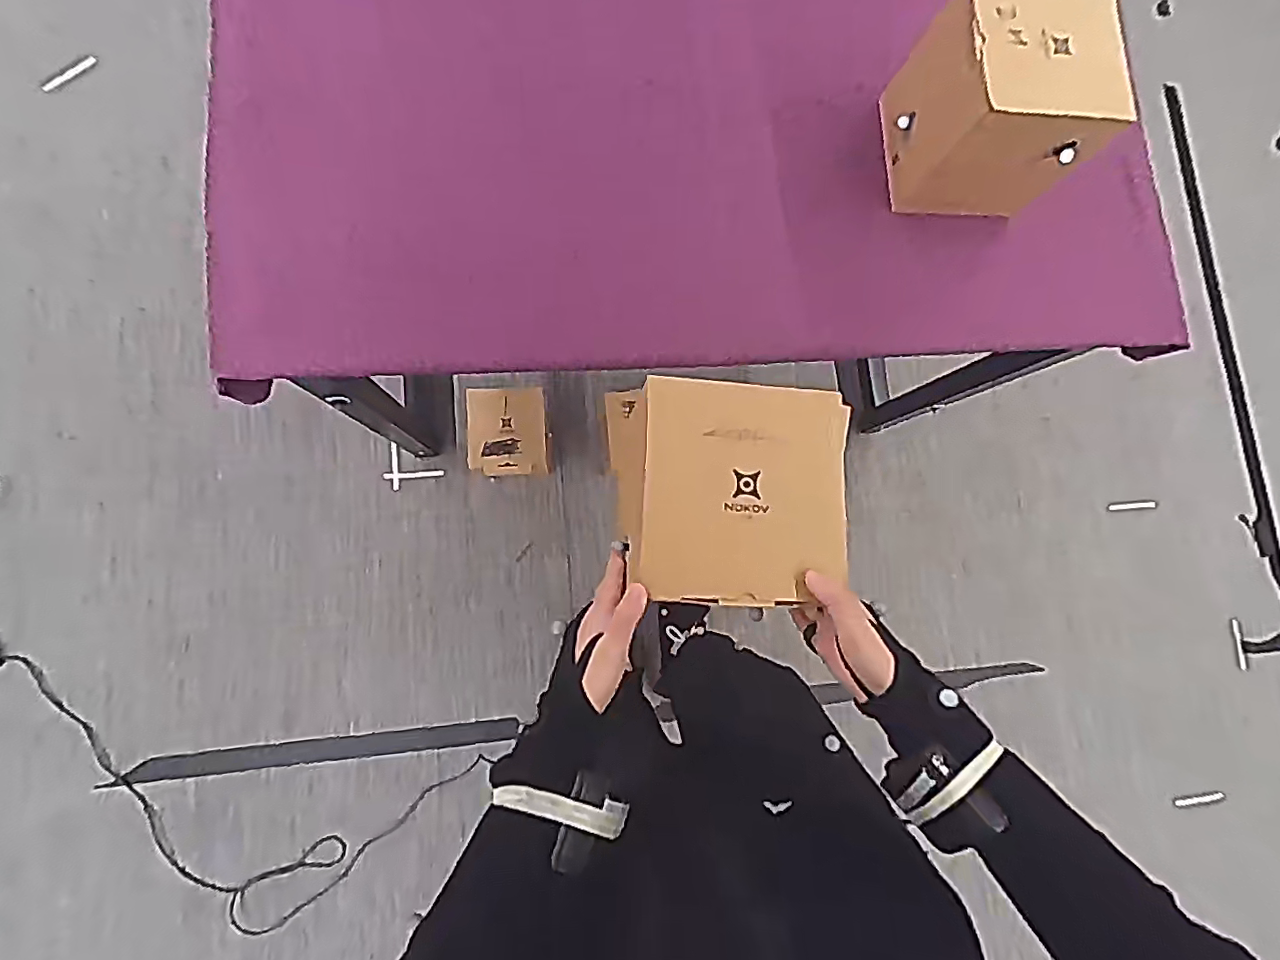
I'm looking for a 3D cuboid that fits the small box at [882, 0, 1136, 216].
[{"bbox_3d":[0.419,-0.438,0.641,0.179,0.176,0.168,-2,82,-8],"label":"small box"}]

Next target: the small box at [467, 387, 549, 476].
[{"bbox_3d":[-0.298,-0.104,1.242,0.168,0.176,0.179,-3,82,-8],"label":"small box"}]

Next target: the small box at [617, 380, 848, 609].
[{"bbox_3d":[0.071,0.025,0.499,0.168,0.176,0.179,3,78,-9],"label":"small box"}]
